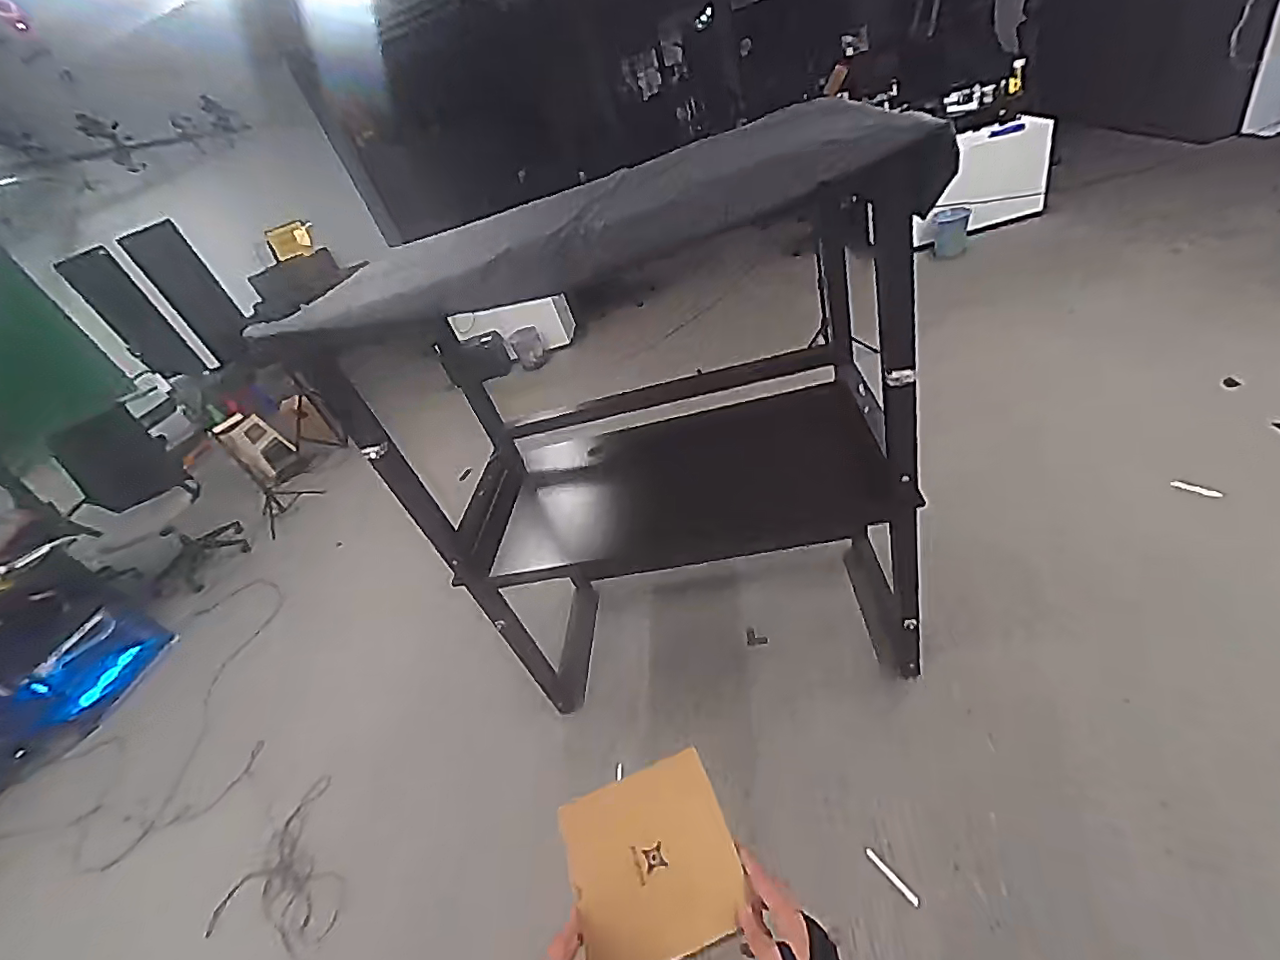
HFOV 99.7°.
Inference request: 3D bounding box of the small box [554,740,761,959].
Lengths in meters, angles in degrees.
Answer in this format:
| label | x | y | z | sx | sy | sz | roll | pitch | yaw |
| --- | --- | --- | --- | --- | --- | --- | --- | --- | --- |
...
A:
| label | x | y | z | sx | sy | sz | roll | pitch | yaw |
| --- | --- | --- | --- | --- | --- | --- | --- | --- | --- |
| small box | 0.025 | 0.430 | 0.624 | 0.179 | 0.176 | 0.168 | -24 | 51 | -3 |
